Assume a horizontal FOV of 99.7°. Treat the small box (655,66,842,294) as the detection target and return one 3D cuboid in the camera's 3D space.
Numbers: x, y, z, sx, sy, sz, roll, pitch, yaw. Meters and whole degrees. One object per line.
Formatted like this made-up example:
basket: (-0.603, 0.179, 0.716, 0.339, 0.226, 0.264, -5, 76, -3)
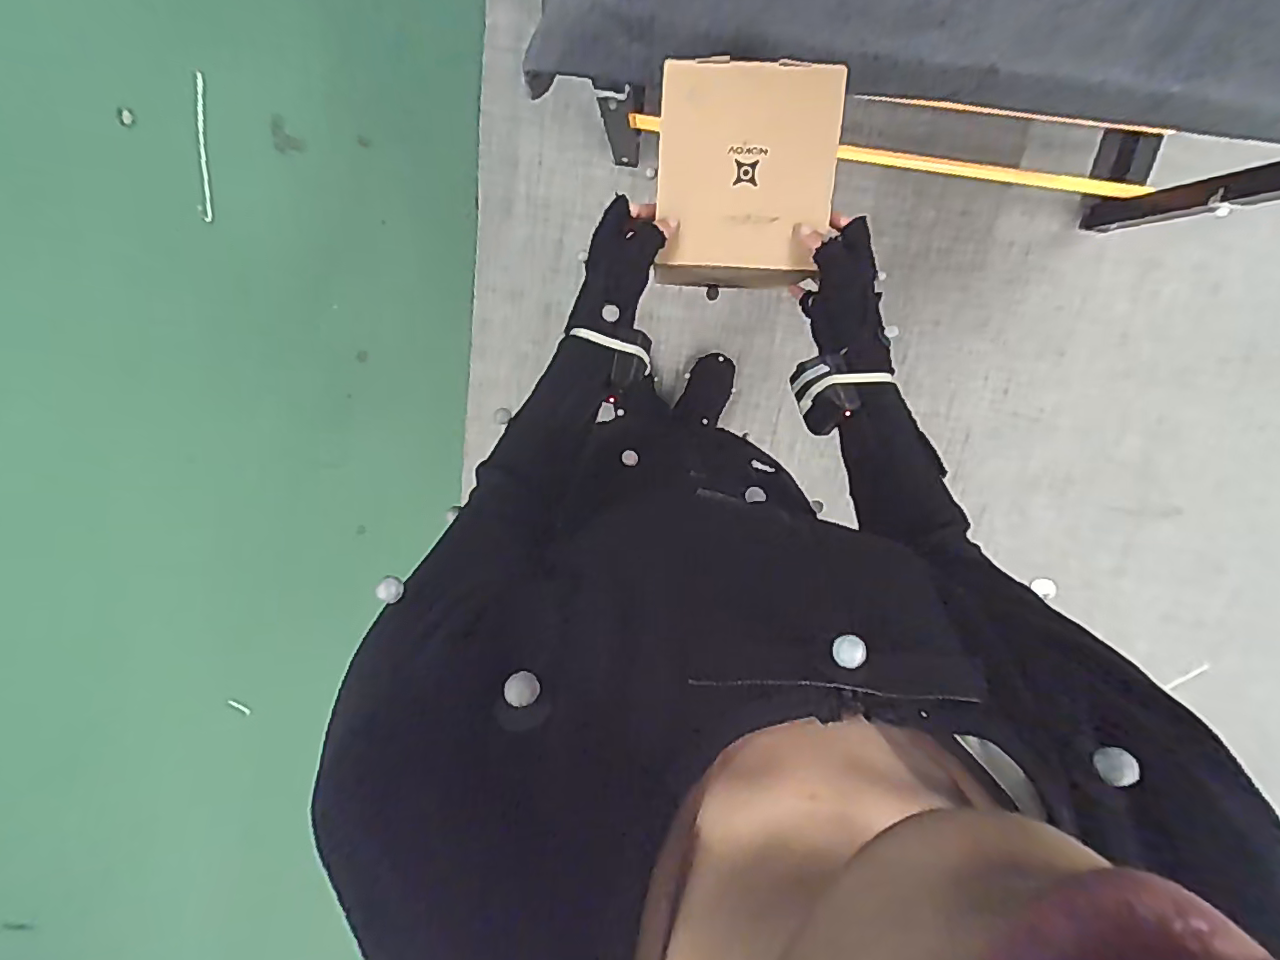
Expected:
small box: (0.104, -0.309, 0.590, 0.168, 0.176, 0.179, 3, 103, 3)
